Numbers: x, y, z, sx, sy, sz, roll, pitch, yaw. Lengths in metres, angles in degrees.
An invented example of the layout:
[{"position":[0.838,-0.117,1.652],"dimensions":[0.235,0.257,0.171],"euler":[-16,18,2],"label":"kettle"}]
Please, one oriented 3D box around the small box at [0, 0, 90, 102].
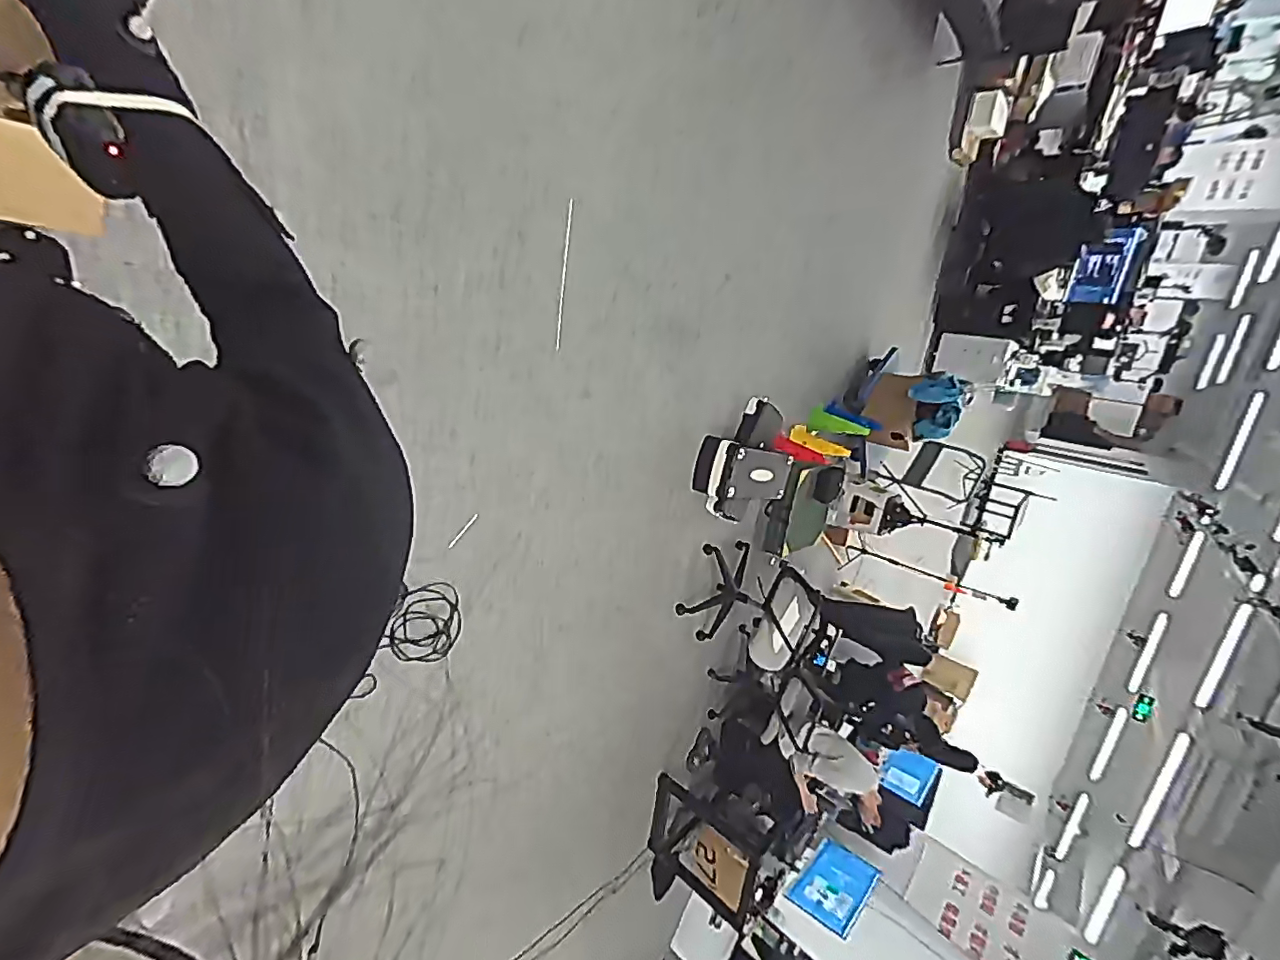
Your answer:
[{"position":[-0.560,-0.399,0.398],"dimensions":[0.179,0.176,0.168],"euler":[-24,120,-38],"label":"small box"}]
